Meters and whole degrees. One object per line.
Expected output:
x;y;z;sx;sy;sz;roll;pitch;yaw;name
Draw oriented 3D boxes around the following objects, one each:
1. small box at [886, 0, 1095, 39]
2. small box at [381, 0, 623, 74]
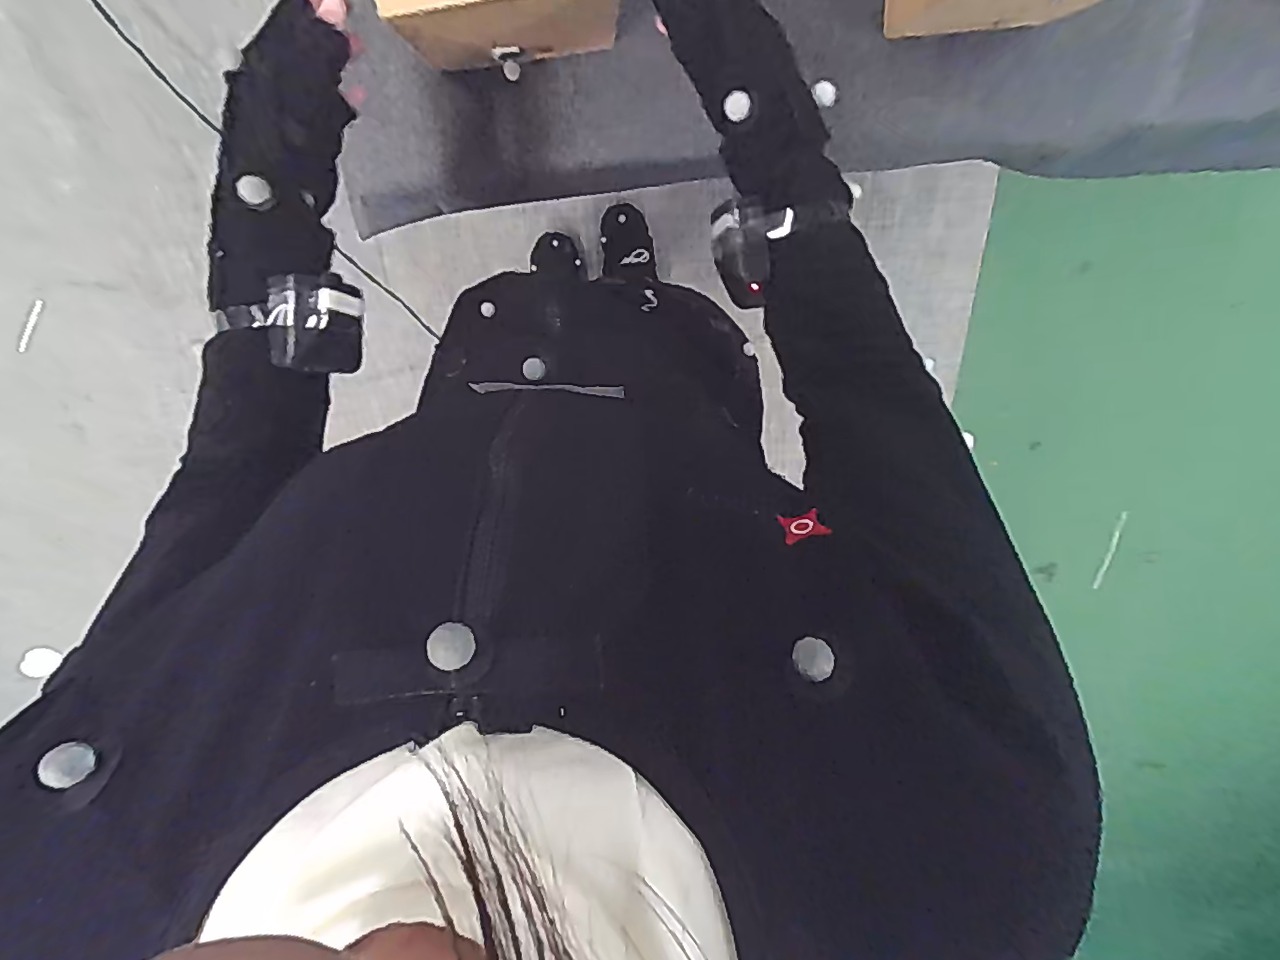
0.311;-0.477;0.413;0.168;0.176;0.179;-7;116;-2;small box
-0.108;-0.430;0.392;0.168;0.176;0.179;-10;117;0;small box
